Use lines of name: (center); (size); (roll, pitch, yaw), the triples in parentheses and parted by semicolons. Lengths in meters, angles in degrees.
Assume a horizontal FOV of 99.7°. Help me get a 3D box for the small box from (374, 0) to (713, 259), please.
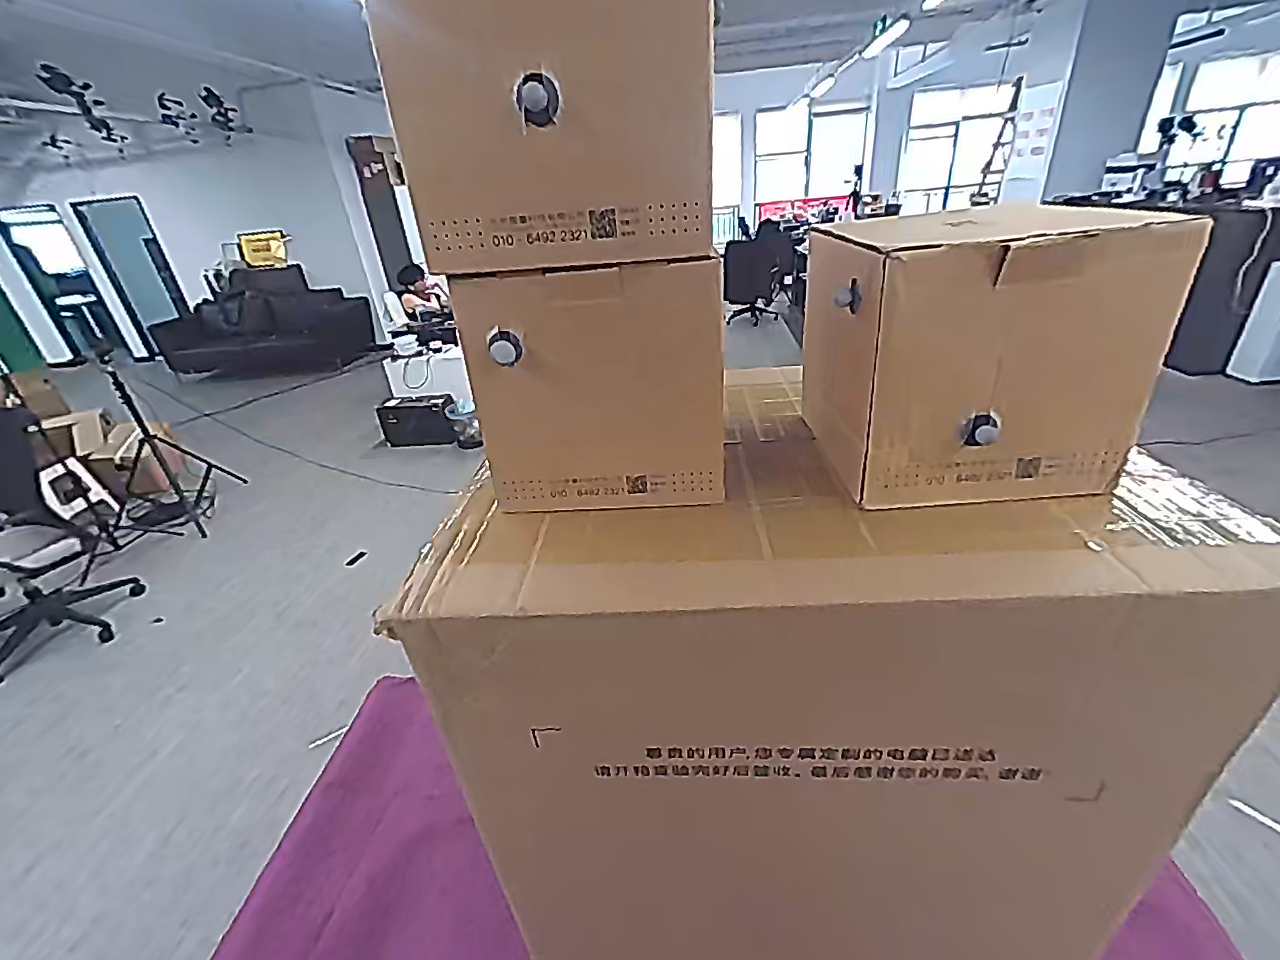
small box: (-0.044, -0.239, 0.344); (0.168, 0.176, 0.179); (-3, 28, 1)

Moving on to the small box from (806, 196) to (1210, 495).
small box: (0.225, -0.105, 0.397); (0.168, 0.176, 0.179); (-5, 29, 4)
